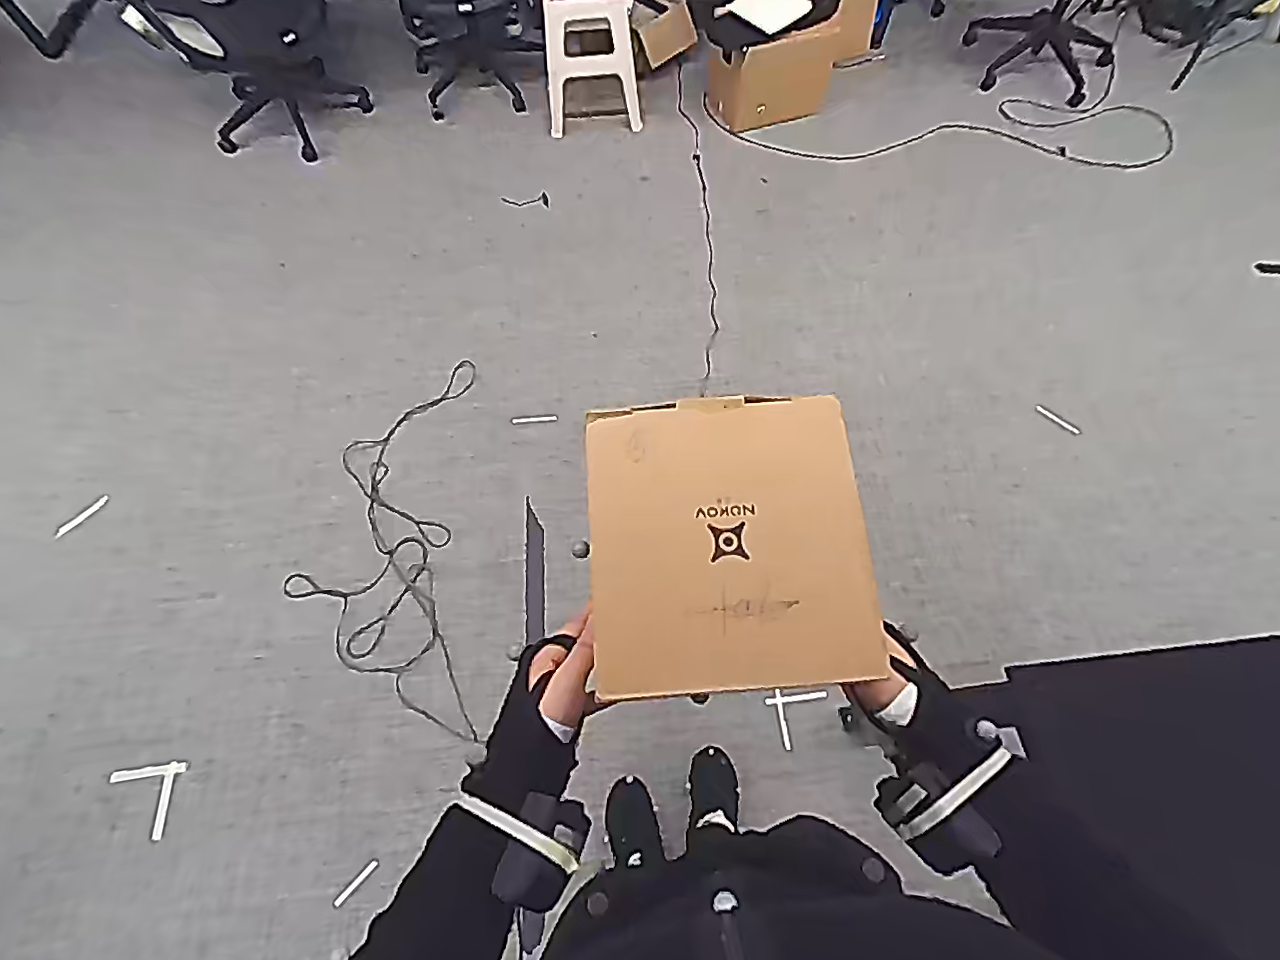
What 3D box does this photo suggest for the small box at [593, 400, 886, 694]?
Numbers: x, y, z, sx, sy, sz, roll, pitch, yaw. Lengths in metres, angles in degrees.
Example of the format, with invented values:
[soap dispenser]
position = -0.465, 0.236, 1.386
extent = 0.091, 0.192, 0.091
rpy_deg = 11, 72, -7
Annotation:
[small box]
position = 0.052, 0.057, 0.404
extent = 0.168, 0.176, 0.179
rpy_deg = -4, 74, -1
